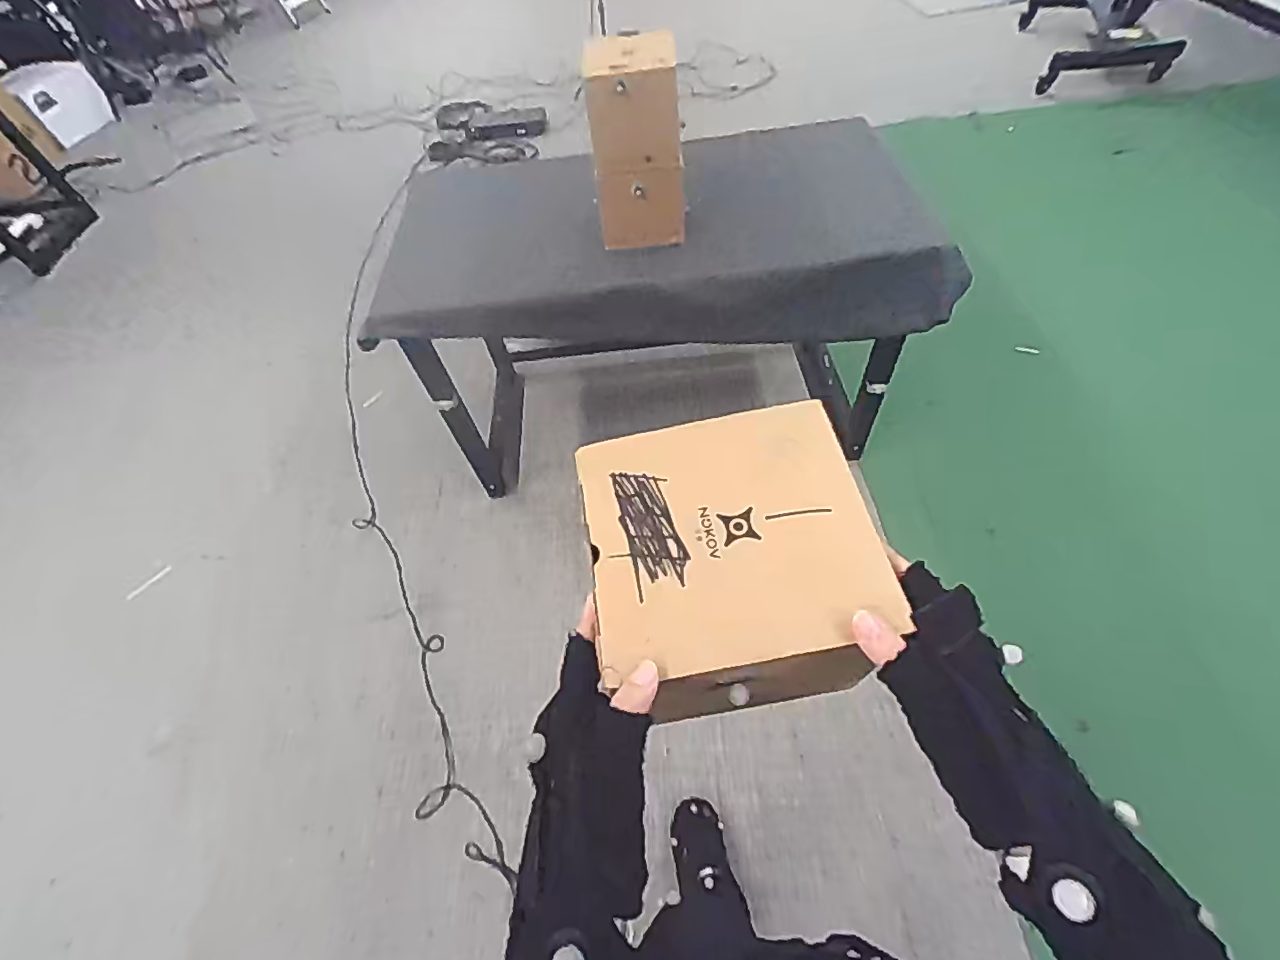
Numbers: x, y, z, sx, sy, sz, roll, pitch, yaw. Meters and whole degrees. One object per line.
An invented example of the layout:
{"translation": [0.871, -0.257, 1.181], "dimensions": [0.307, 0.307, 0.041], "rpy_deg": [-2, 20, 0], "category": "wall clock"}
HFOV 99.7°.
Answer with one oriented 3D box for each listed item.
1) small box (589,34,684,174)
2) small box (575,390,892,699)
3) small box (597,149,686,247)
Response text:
{"translation": [-0.006, -0.718, 1.038], "dimensions": [0.168, 0.176, 0.179], "rpy_deg": [-6, 56, 2], "category": "small box"}
{"translation": [0.058, 0.060, 0.415], "dimensions": [0.179, 0.176, 0.168], "rpy_deg": [-10, 59, 1], "category": "small box"}
{"translation": [0.006, -0.626, 1.169], "dimensions": [0.179, 0.176, 0.168], "rpy_deg": [-4, 56, 2], "category": "small box"}
